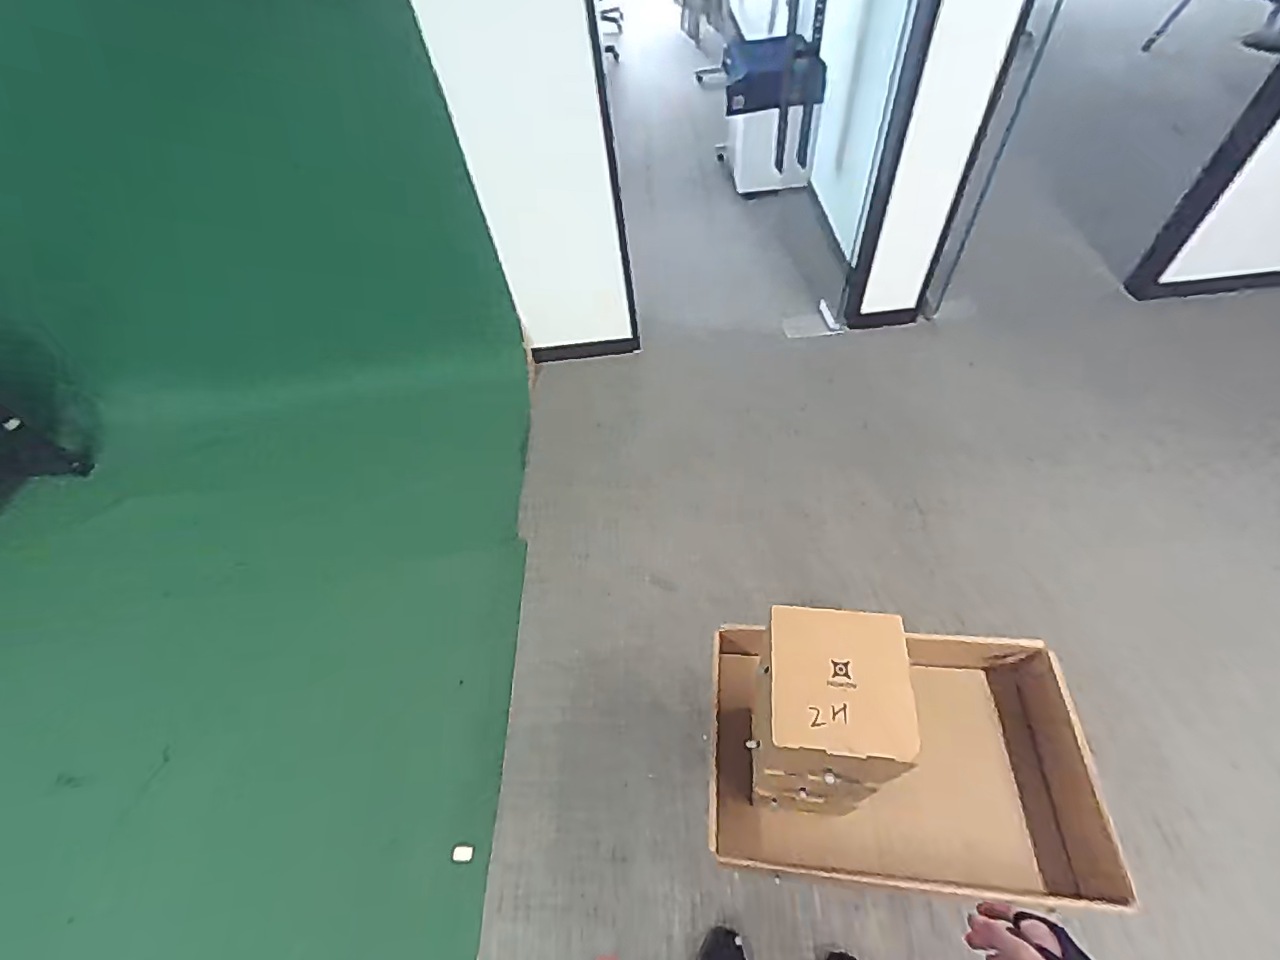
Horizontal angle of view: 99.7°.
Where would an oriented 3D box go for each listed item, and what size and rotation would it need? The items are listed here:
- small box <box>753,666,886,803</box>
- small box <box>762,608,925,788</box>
[{"bbox_3d":[0.269,0.391,0.852,0.168,0.176,0.179,3,55,8],"label":"small box"},{"bbox_3d":[0.254,0.292,0.721,0.168,0.176,0.179,4,56,9],"label":"small box"}]
